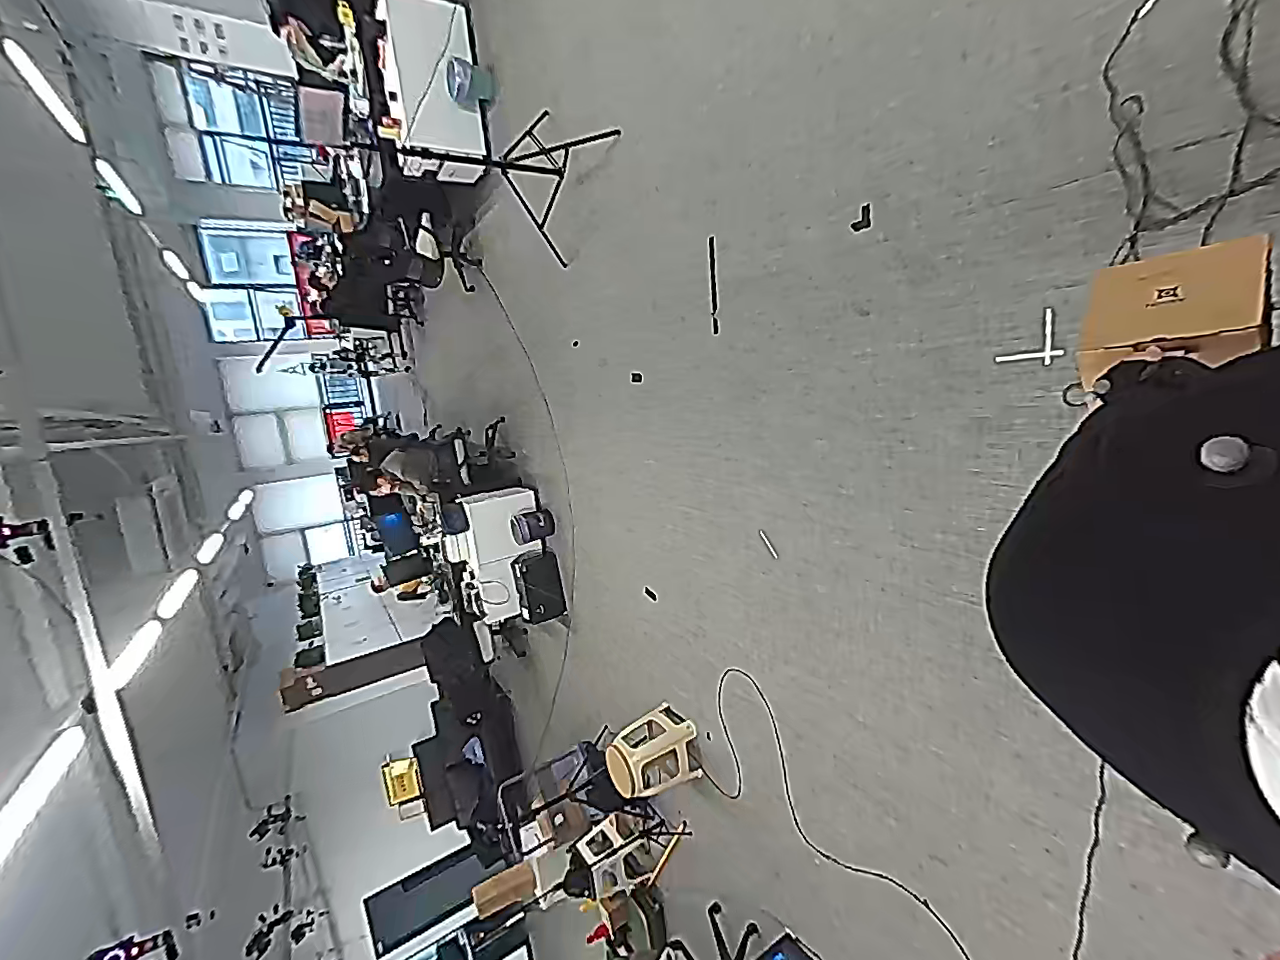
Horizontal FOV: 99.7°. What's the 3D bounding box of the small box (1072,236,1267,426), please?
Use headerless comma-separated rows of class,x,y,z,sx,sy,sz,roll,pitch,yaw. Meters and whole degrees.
small box,0.718,-0.185,0.732,0.168,0.179,0.176,2,143,50
